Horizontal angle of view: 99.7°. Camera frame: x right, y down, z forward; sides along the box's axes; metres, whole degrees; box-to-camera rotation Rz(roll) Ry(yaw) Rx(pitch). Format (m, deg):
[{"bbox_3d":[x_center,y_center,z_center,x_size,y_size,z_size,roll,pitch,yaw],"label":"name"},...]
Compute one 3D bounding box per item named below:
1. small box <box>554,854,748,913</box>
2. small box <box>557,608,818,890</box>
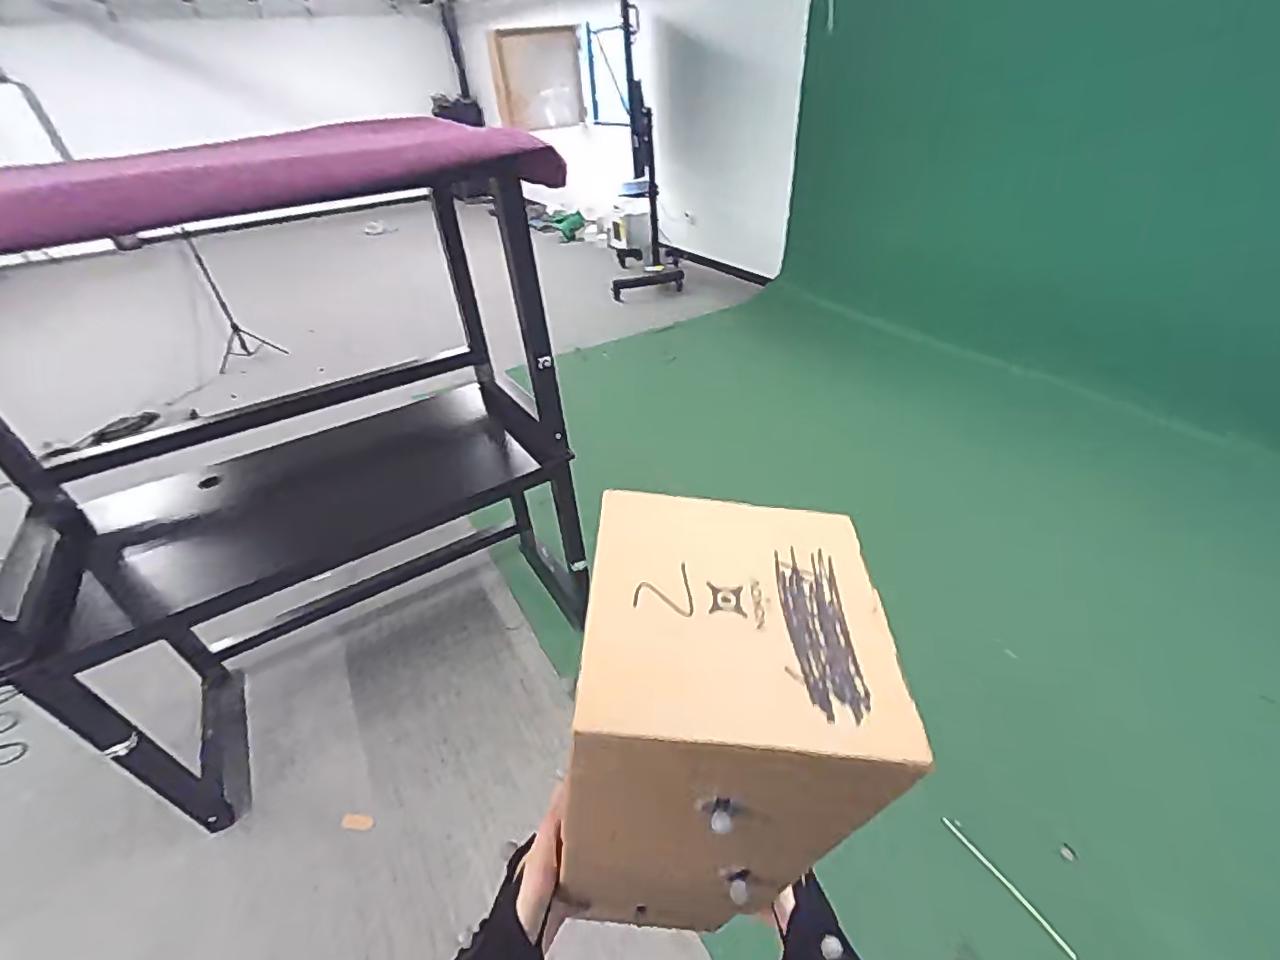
[{"bbox_3d":[0.007,0.350,0.588,0.179,0.176,0.168,7,42,-2],"label":"small box"},{"bbox_3d":[0.028,0.236,0.472,0.179,0.176,0.168,7,41,-4],"label":"small box"}]
